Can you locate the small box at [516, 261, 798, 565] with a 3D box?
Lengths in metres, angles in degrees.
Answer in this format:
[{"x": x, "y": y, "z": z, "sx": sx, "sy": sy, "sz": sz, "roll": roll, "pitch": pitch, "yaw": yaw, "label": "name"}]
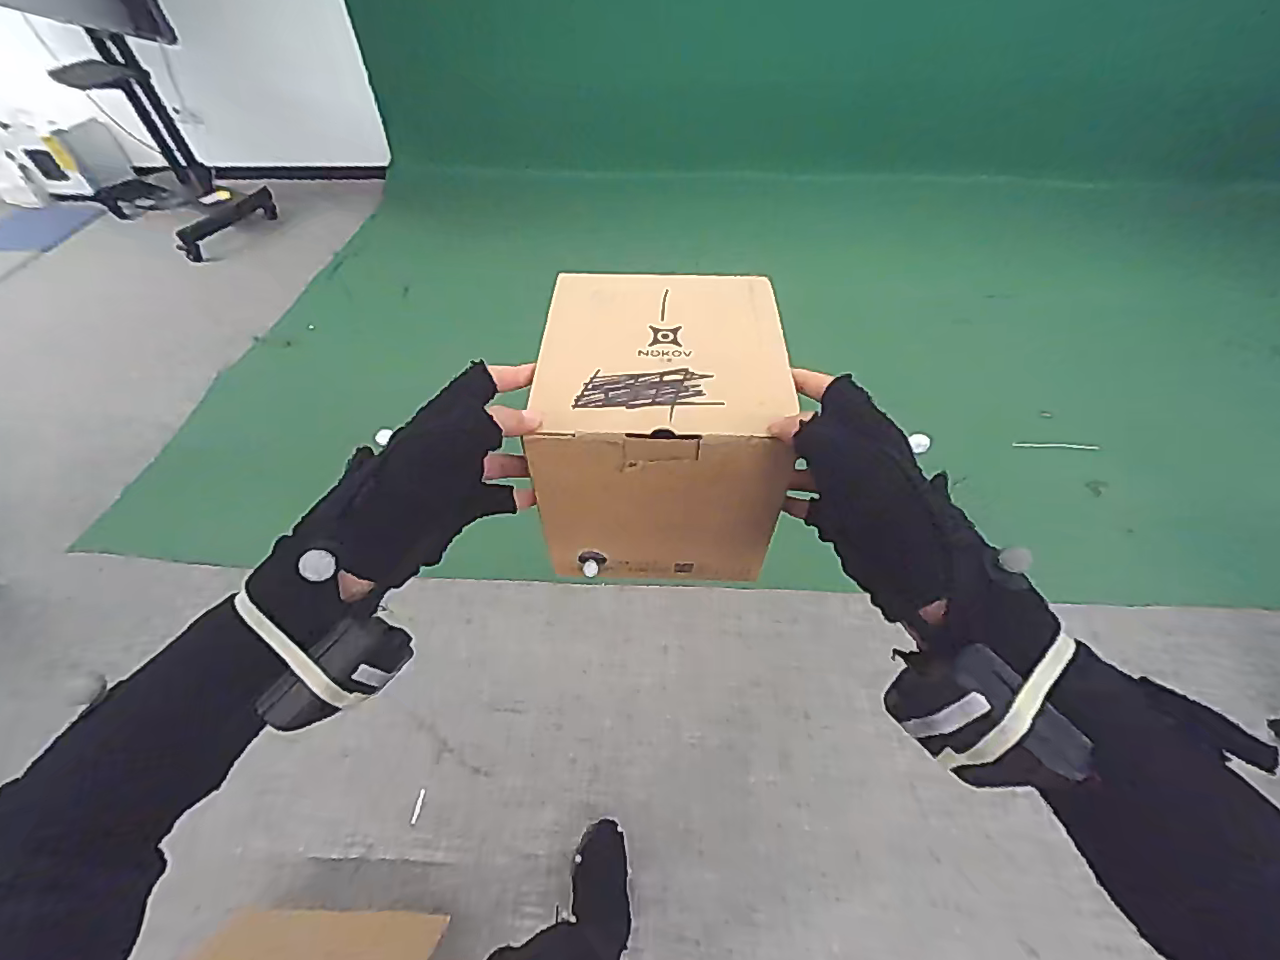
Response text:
[{"x": 0.014, "y": -0.047, "z": 0.420, "sx": 0.168, "sy": 0.176, "sz": 0.179, "roll": 1, "pitch": 51, "yaw": 1, "label": "small box"}]
